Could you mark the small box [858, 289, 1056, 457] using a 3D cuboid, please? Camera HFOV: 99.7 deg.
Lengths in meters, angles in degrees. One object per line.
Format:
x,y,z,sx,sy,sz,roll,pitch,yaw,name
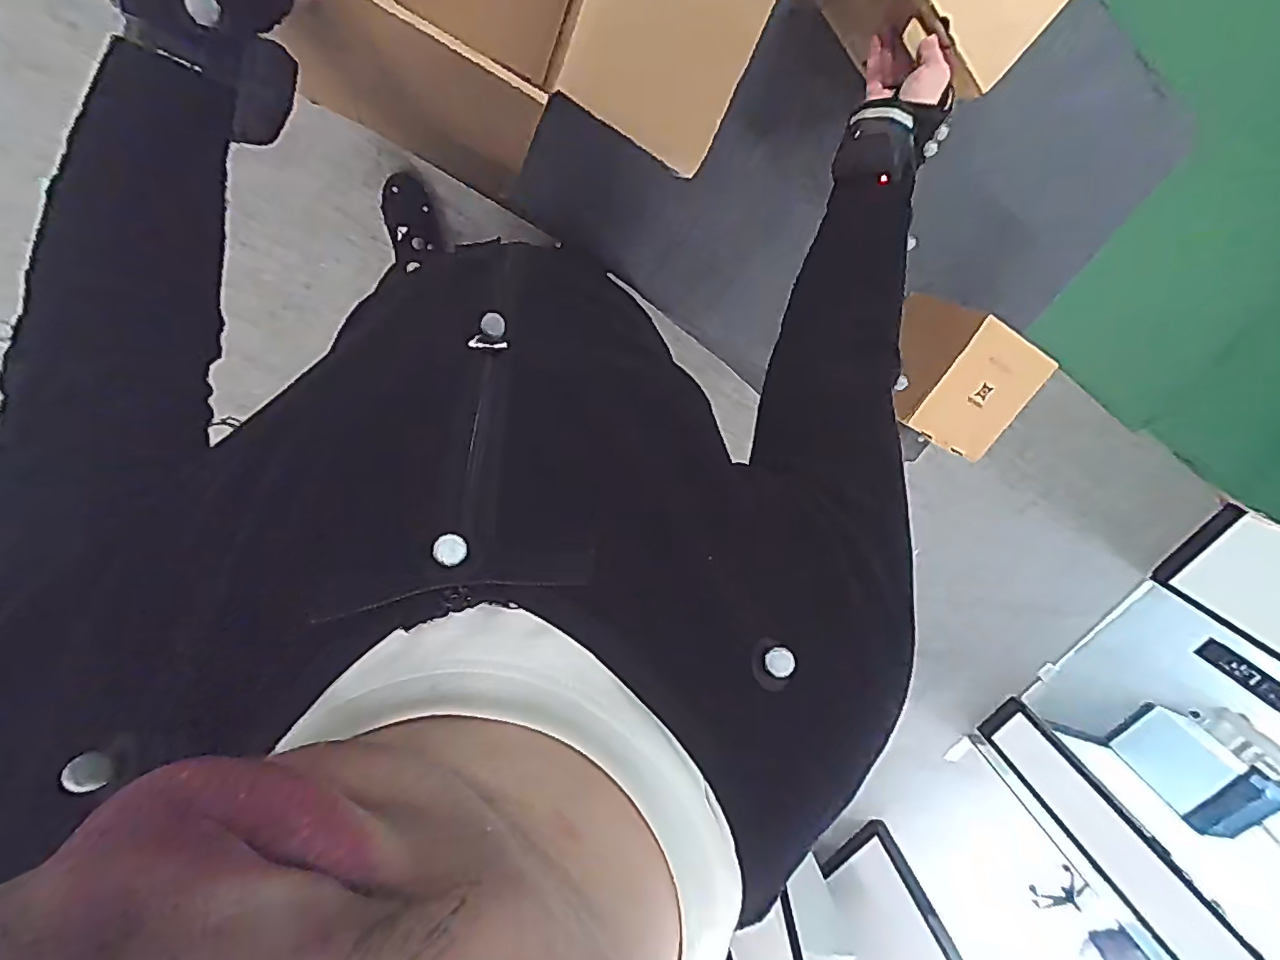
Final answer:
0.473,-0.170,0.842,0.168,0.176,0.179,21,112,-24,small box
